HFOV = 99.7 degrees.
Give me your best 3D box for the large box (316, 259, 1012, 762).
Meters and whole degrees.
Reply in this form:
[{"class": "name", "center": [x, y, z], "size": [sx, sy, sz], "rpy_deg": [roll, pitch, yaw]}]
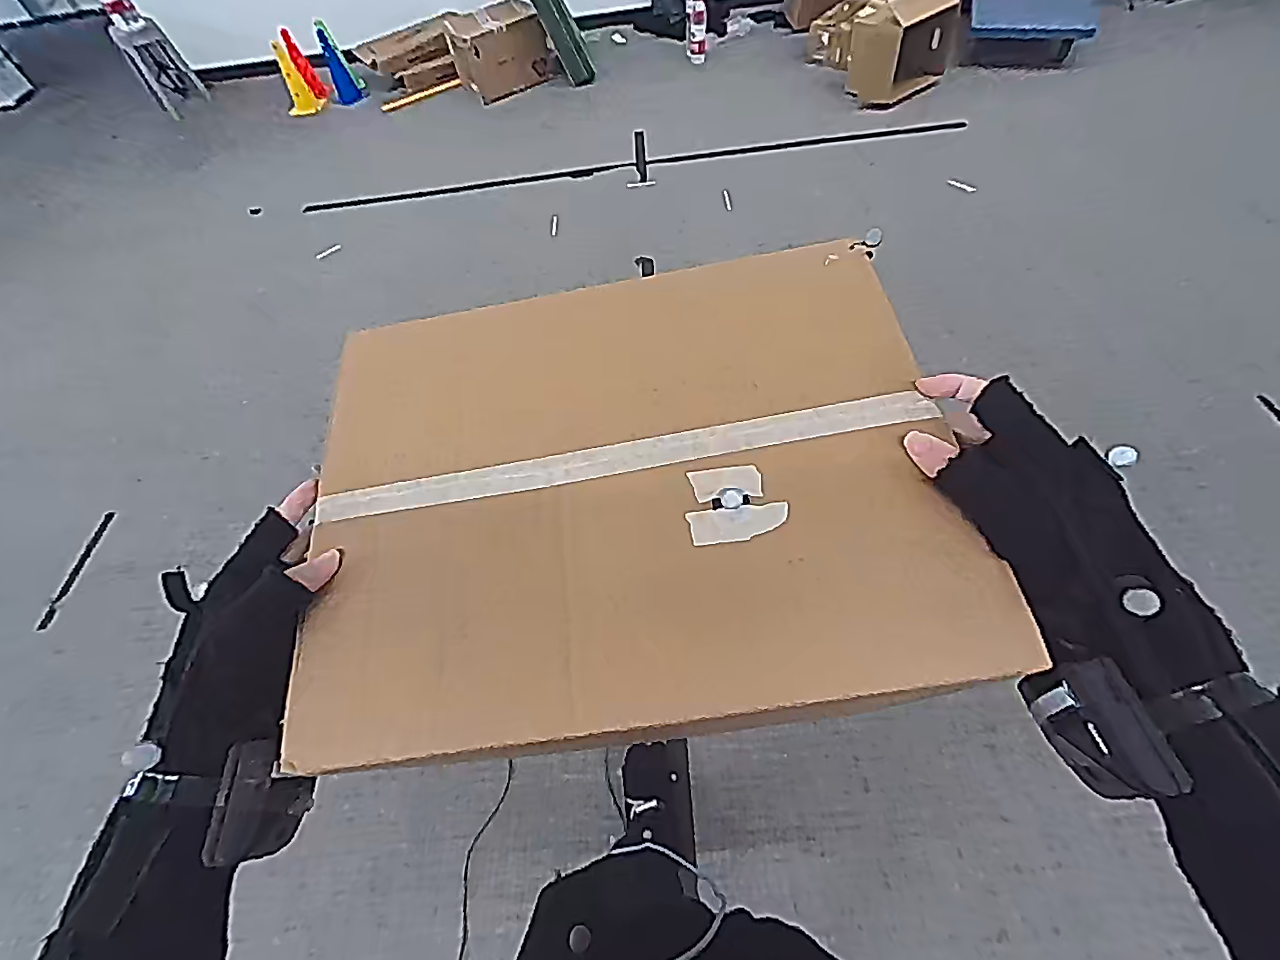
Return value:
[{"class": "large box", "center": [0.006, 0.058, 0.499], "size": [0.408, 0.320, 0.320], "rpy_deg": [-9, 63, 3]}]
